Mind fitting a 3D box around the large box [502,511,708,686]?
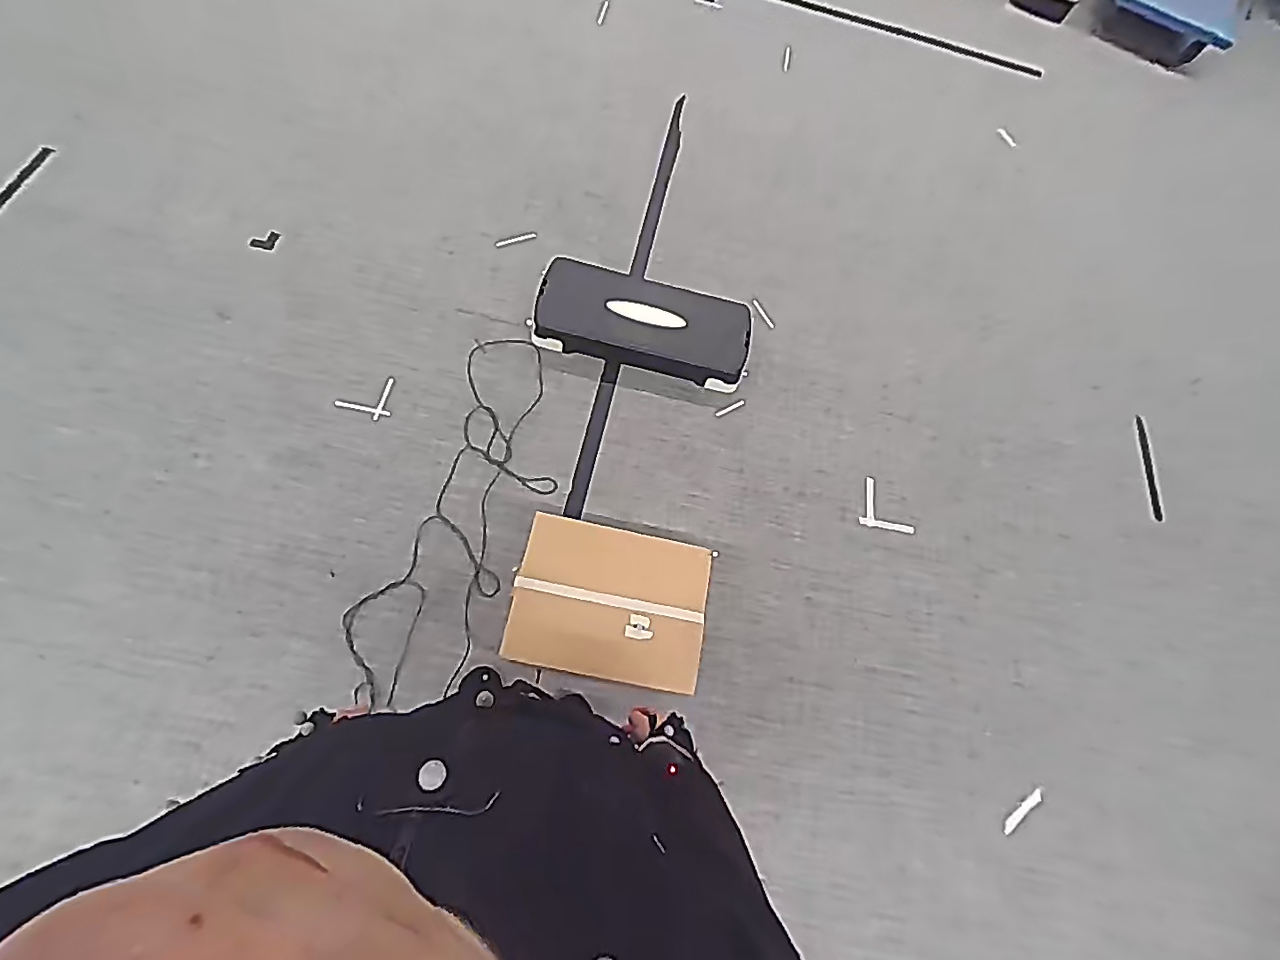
[{"bbox_3d":[-0.087,0.296,1.286,0.408,0.320,0.320,13,69,-5],"label":"large box"}]
